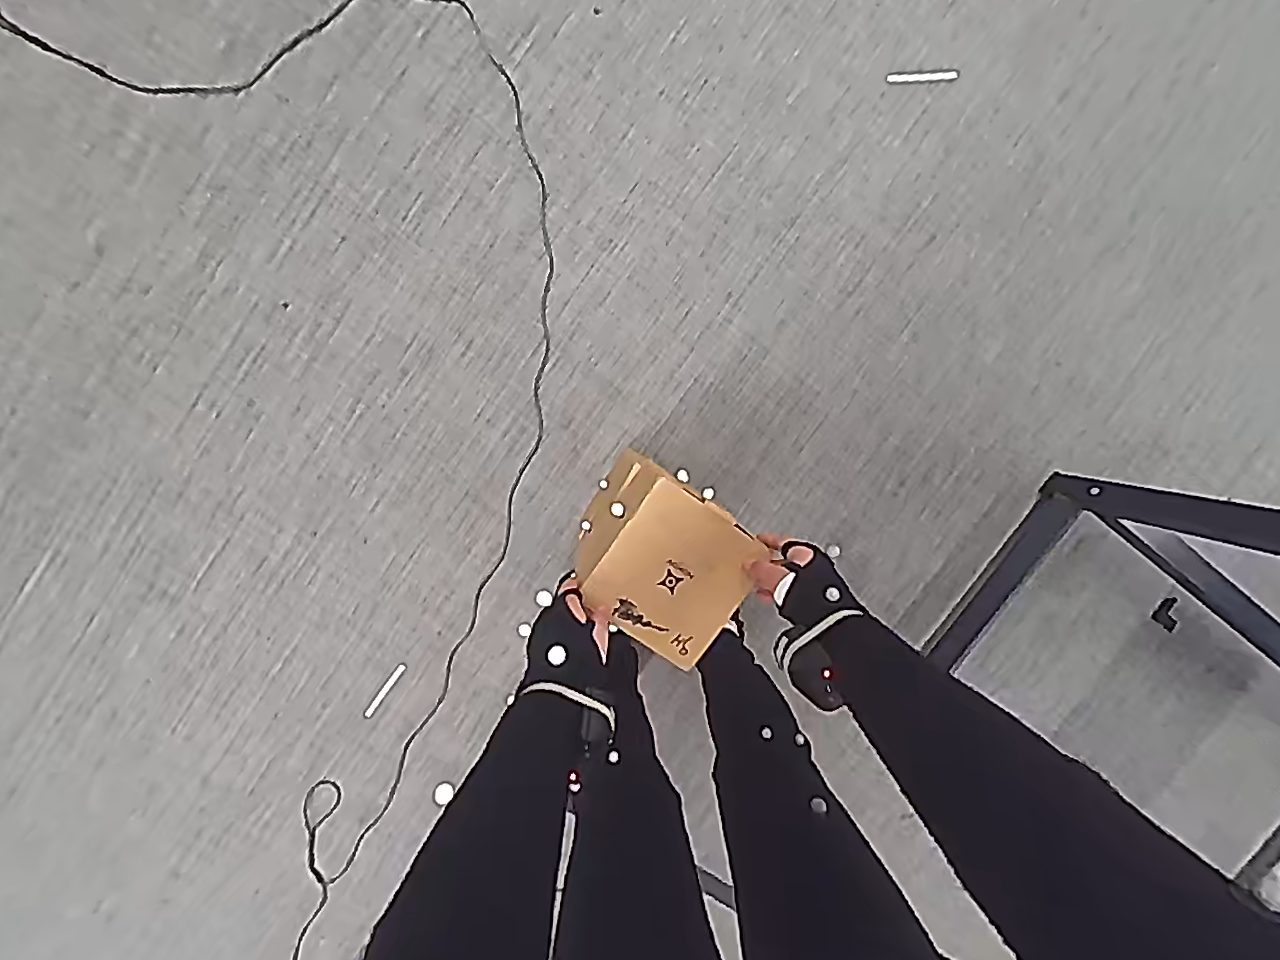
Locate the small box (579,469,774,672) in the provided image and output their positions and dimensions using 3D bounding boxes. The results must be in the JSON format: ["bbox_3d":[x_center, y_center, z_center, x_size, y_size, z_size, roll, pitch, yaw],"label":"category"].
[{"bbox_3d":[0.034,0.101,0.693,0.168,0.176,0.179,35,92,-8],"label":"small box"}]

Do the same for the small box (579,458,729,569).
[{"bbox_3d":[0.016,0.081,0.866,0.168,0.176,0.179,28,94,-8],"label":"small box"}]

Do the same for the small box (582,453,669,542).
[{"bbox_3d":[0.004,0.064,1.027,0.168,0.176,0.179,32,95,-7],"label":"small box"}]
